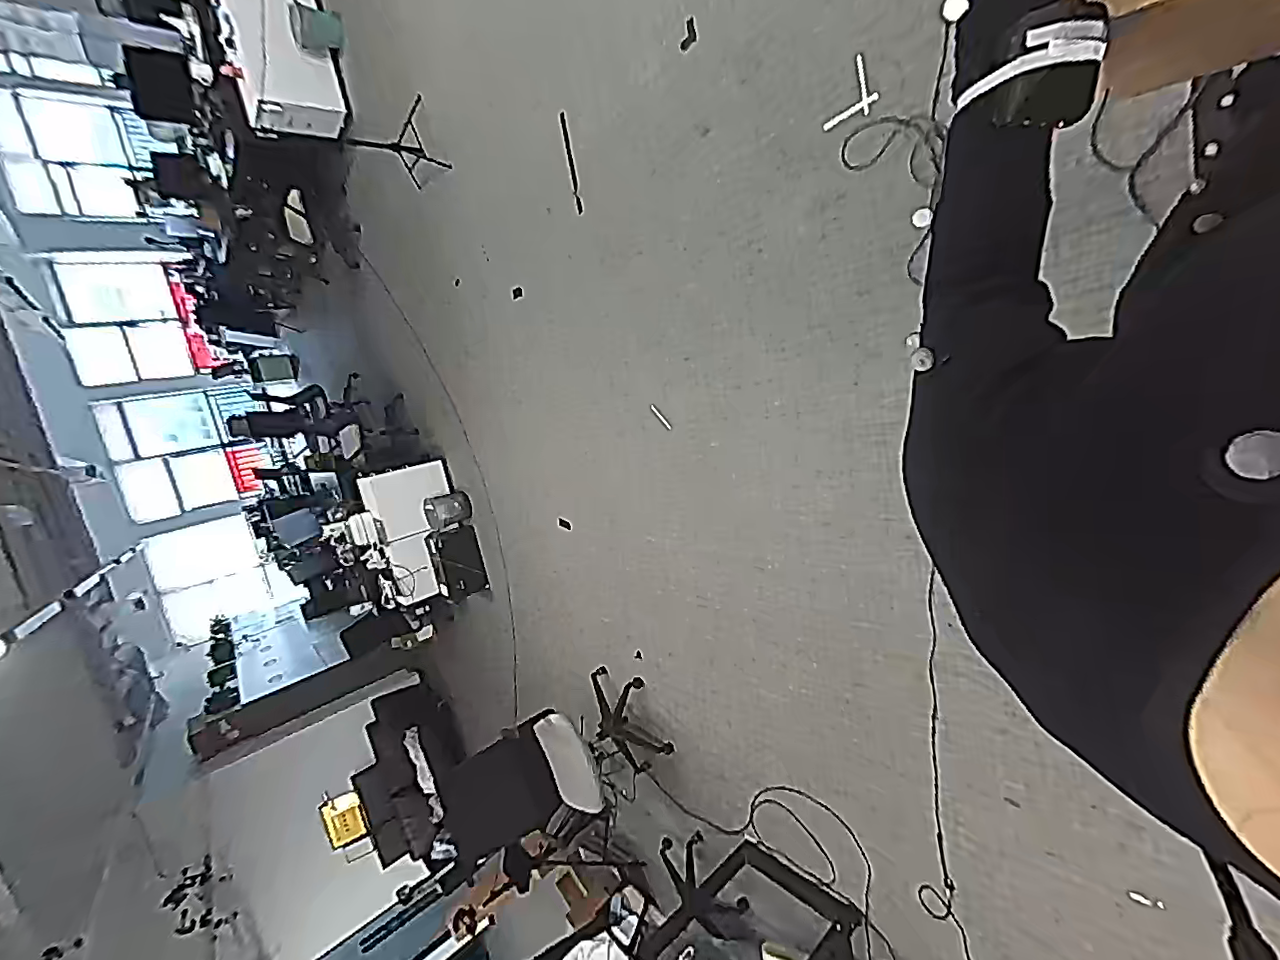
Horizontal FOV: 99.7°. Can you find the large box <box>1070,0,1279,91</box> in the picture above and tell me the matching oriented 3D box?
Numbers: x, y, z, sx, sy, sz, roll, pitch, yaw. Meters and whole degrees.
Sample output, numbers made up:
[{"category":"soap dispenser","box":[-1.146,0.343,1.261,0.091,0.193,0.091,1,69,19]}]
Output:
[{"category":"large box","box":[0.517,-0.492,0.299,0.408,0.320,0.320,7,114,45]}]
